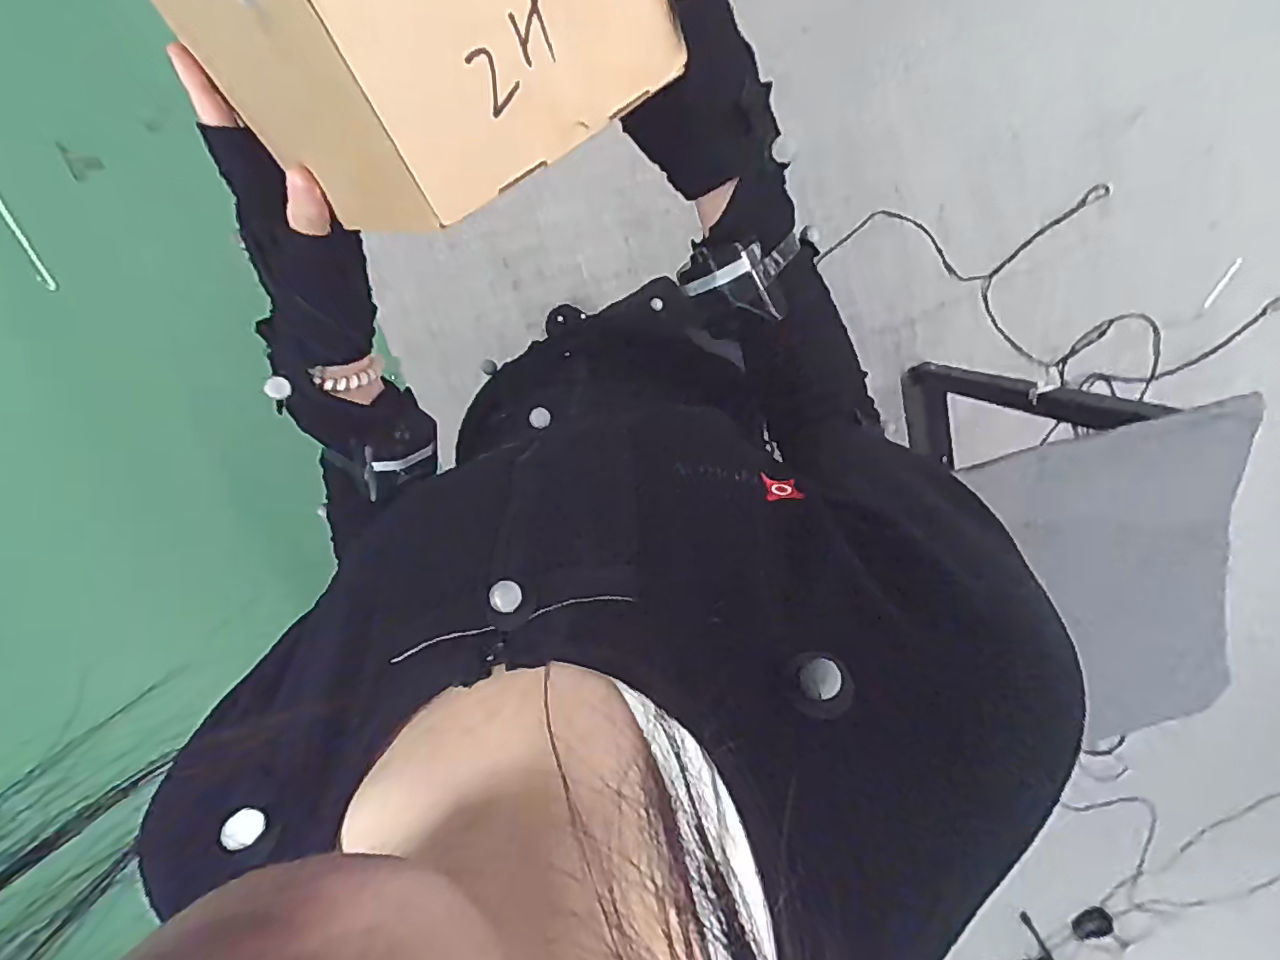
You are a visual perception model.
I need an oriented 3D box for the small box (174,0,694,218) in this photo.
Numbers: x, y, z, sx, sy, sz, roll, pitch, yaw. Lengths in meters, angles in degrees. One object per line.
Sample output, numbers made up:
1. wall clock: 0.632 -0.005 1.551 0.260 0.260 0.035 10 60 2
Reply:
1. small box: -0.107 -0.240 0.246 0.168 0.176 0.179 -46 136 -21
